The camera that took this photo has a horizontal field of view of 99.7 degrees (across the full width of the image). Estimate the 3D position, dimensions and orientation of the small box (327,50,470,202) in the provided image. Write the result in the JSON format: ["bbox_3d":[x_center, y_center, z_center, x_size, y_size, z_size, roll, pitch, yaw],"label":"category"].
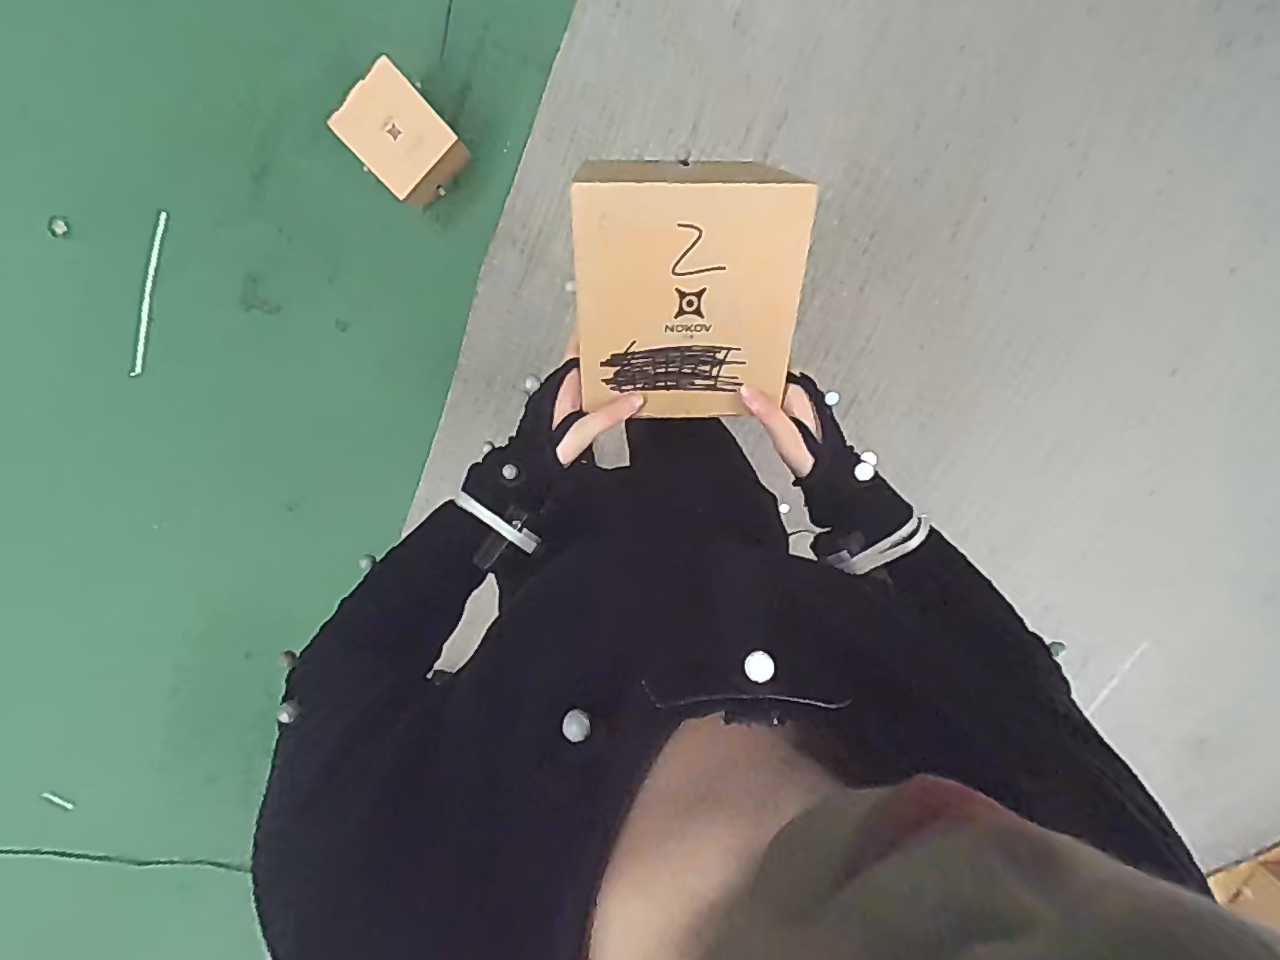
[{"bbox_3d":[-0.471,-0.691,1.084,0.168,0.176,0.179,-41,110,9],"label":"small box"}]
